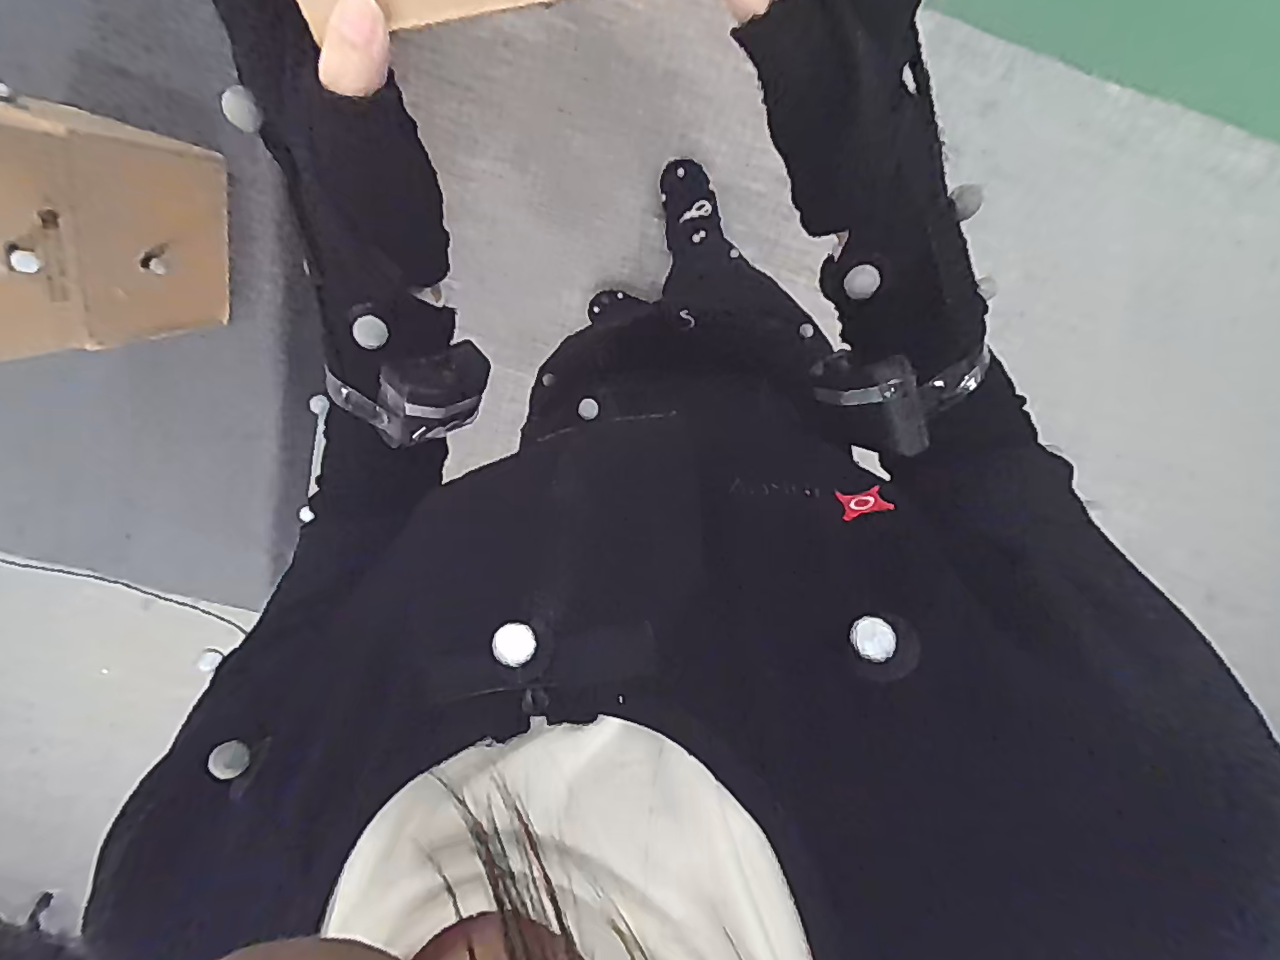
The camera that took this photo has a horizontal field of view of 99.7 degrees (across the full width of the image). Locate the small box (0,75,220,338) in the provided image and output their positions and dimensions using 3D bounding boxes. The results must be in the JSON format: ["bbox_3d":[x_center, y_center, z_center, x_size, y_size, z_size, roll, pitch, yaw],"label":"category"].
[{"bbox_3d":[-0.530,-0.254,0.501,0.168,0.176,0.179,16,114,-5],"label":"small box"}]

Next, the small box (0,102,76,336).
[{"bbox_3d":[-0.540,-0.188,0.350,0.179,0.176,0.168,17,114,-5],"label":"small box"}]
